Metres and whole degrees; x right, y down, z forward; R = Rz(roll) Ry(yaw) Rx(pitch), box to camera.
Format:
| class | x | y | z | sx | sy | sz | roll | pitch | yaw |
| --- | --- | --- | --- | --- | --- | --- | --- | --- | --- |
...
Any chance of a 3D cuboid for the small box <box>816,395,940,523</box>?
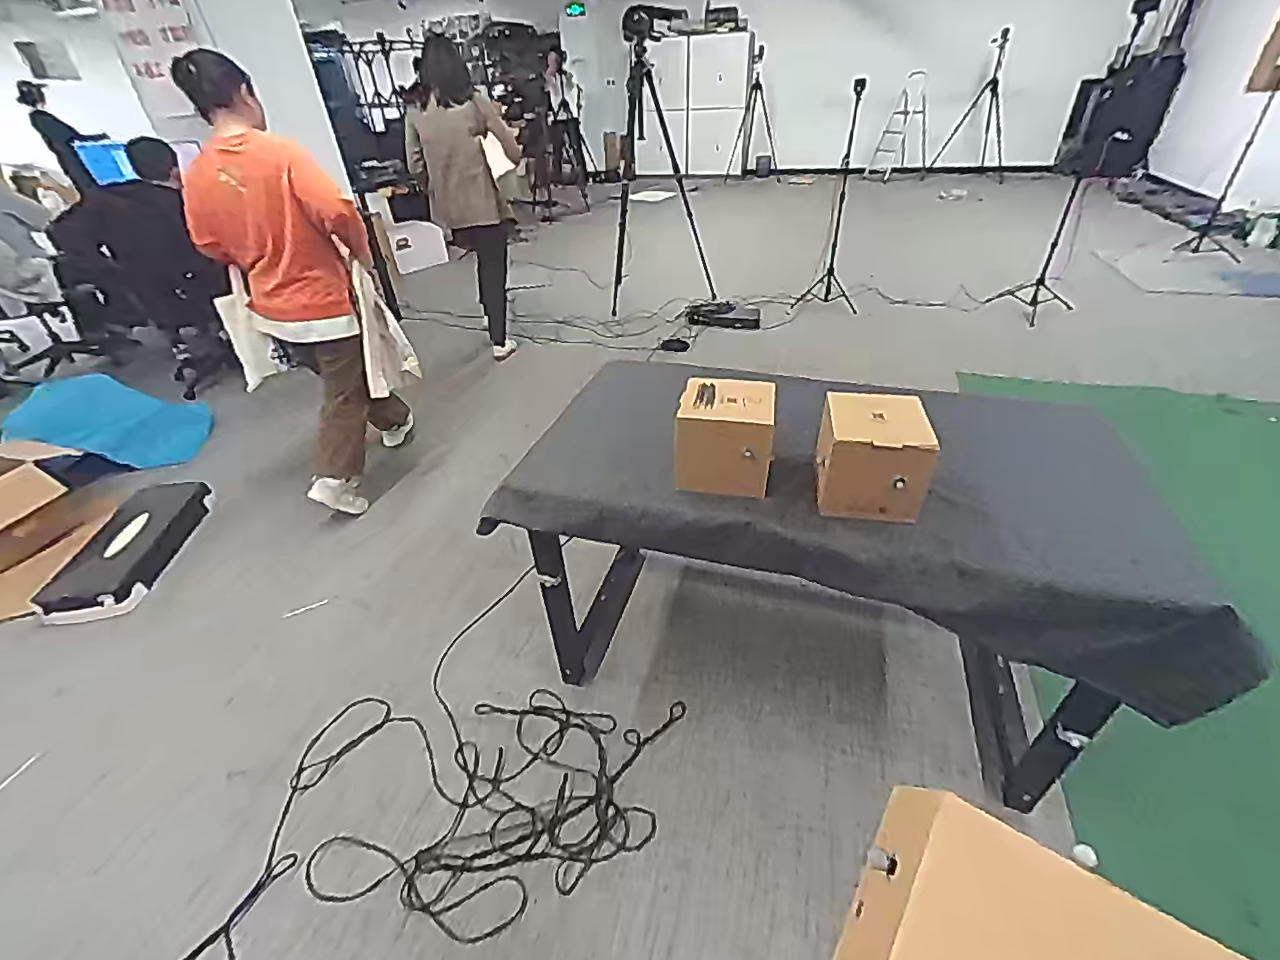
| class | x | y | z | sx | sy | sz | roll | pitch | yaw |
| --- | --- | --- | --- | --- | --- | --- | --- | --- | --- |
| small box | 0.423 | -0.039 | 0.993 | 0.168 | 0.176 | 0.179 | 5 | 36 | 10 |
